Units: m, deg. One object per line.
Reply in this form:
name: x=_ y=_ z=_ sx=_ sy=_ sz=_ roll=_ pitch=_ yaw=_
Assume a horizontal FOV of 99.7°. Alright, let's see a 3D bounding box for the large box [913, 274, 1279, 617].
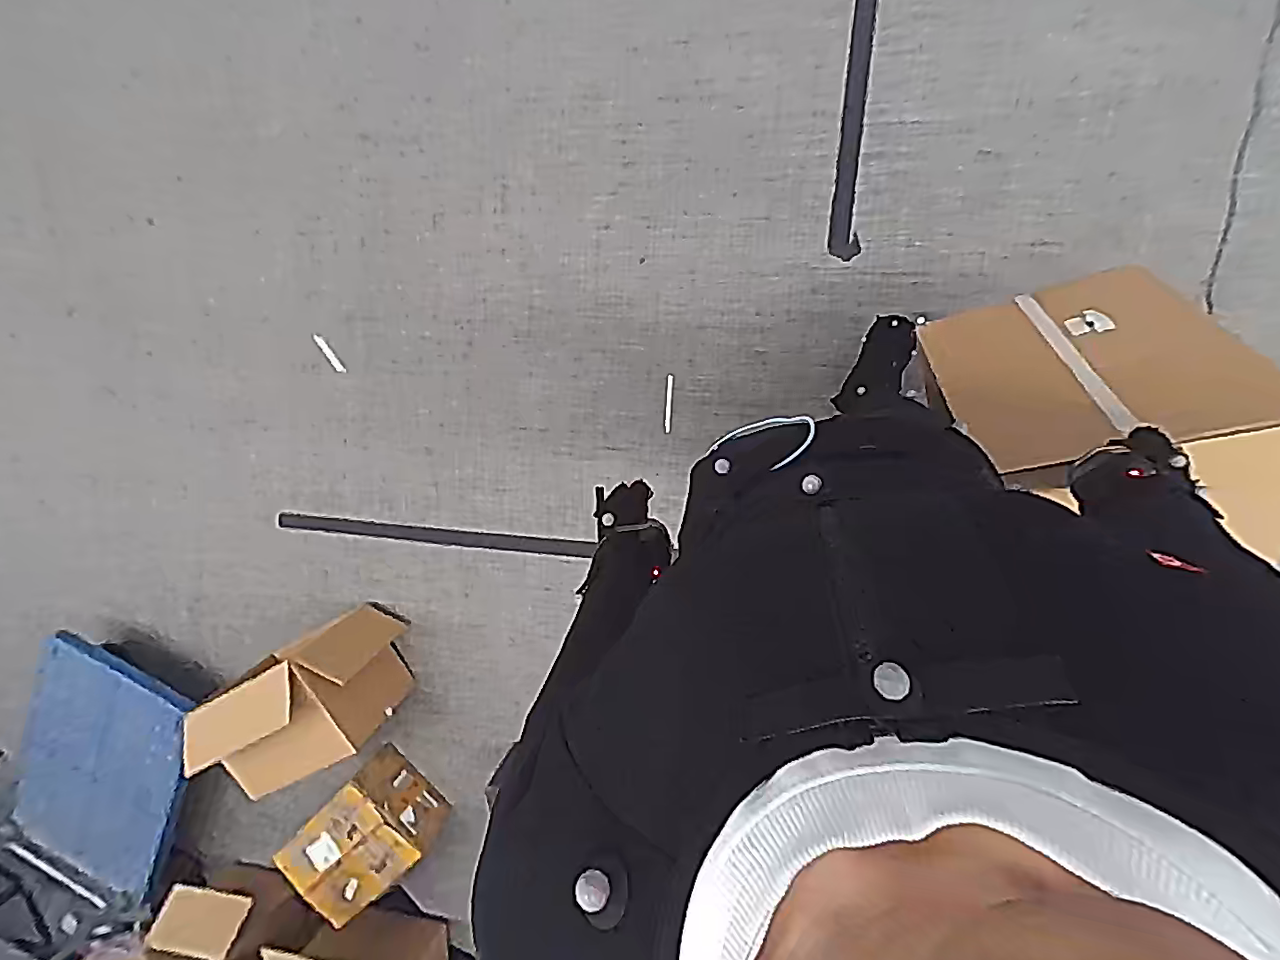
large box: x=0.652 y=-0.054 z=0.839 sx=0.320 sy=0.408 sz=0.320 roll=-12 pitch=127 yaw=22
